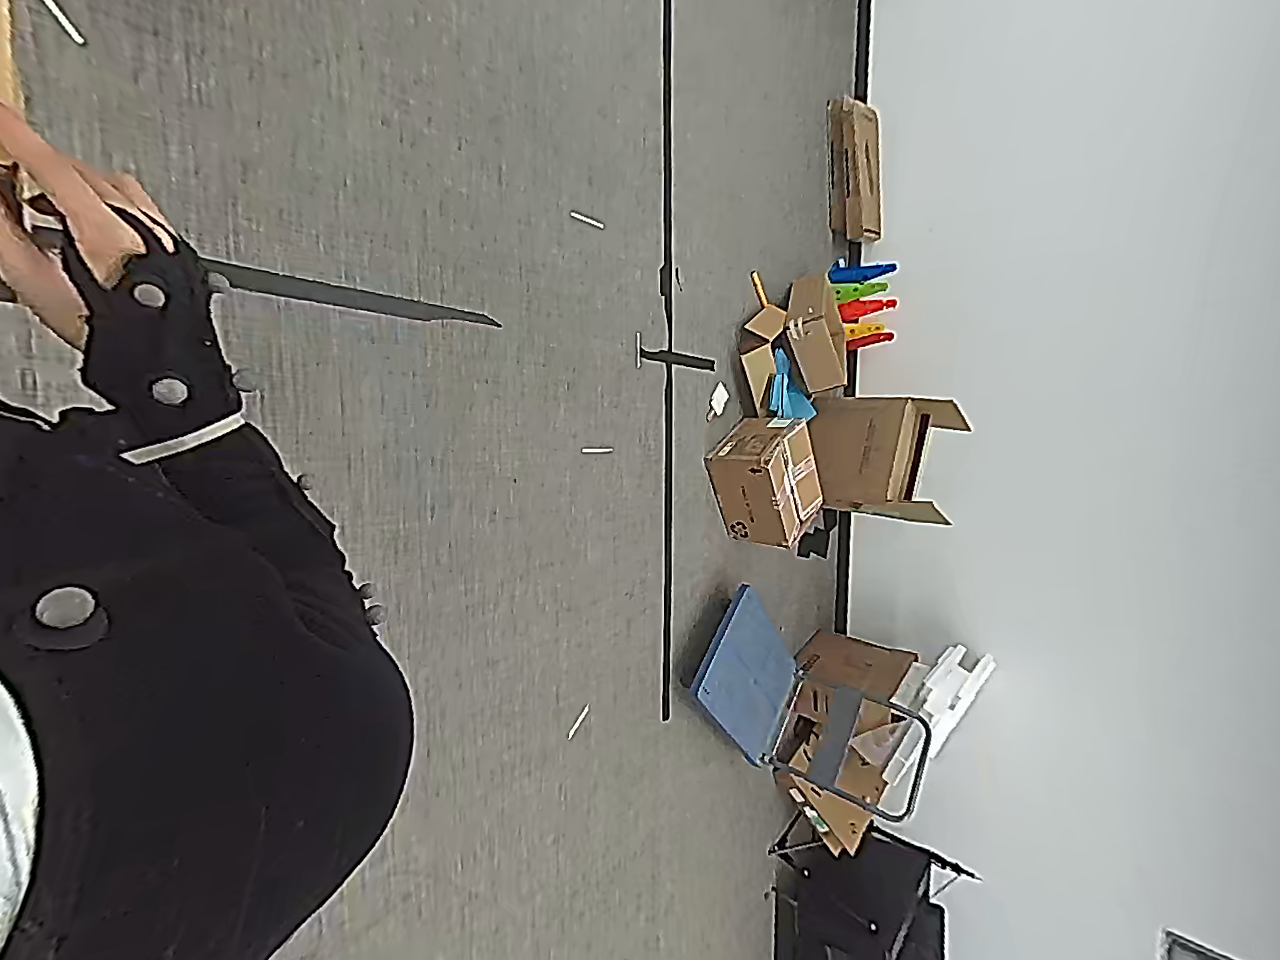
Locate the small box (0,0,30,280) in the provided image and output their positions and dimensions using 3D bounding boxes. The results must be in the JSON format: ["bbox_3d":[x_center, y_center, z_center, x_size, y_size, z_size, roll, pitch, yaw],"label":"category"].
[{"bbox_3d":[-0.436,-0.215,0.267,0.179,0.176,0.168,-4,82,-46],"label":"small box"}]
